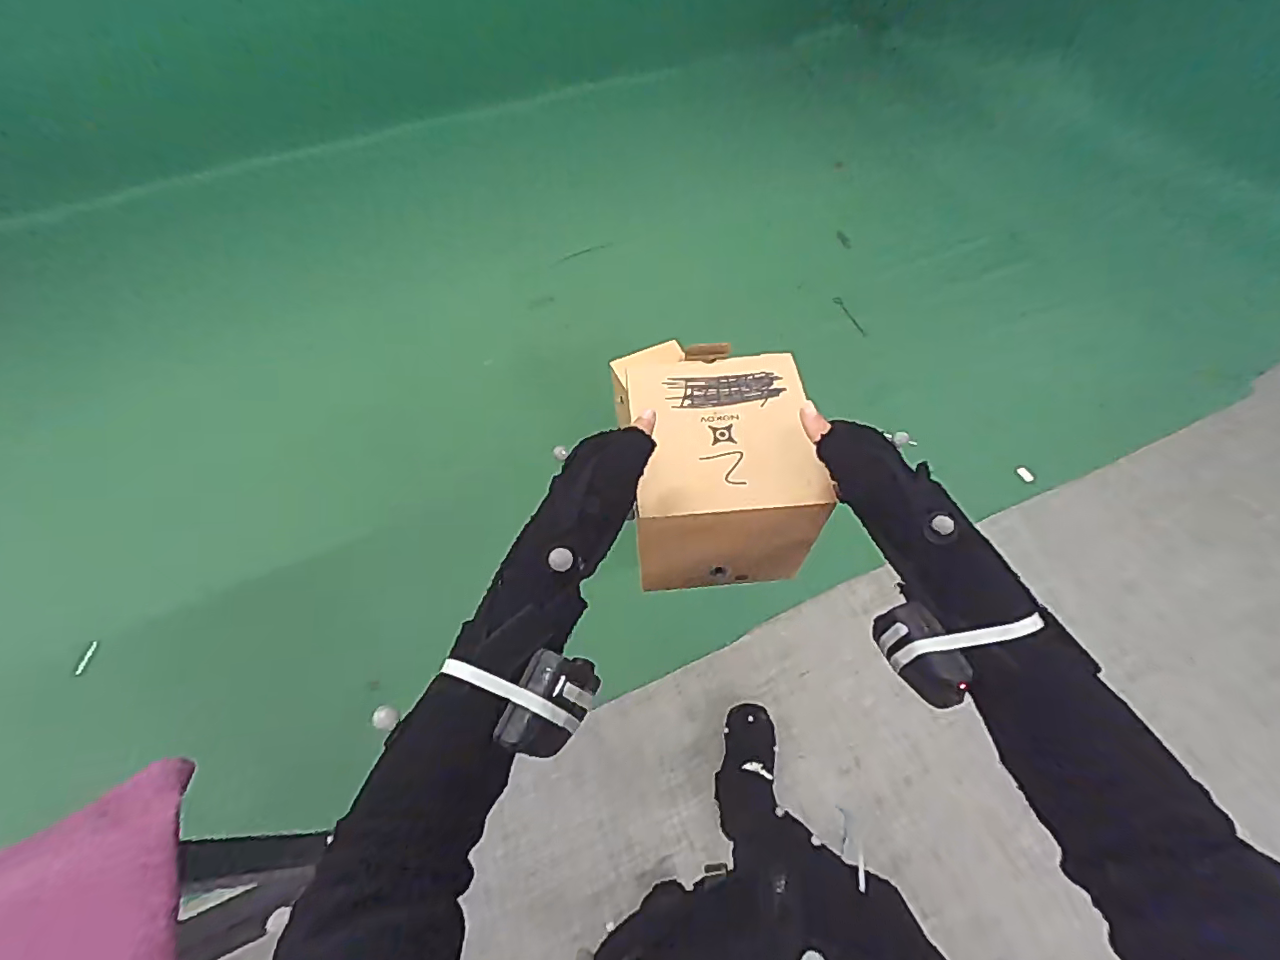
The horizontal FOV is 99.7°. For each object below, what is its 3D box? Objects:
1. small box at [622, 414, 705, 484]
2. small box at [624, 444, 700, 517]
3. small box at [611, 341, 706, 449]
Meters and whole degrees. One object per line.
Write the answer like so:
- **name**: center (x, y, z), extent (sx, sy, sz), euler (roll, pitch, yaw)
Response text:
- **small box**: center (0.058, -0.117, 1.457), extent (0.179, 0.176, 0.168), euler (-20, 57, -10)
- **small box**: center (0.062, -0.023, 1.594), extent (0.168, 0.176, 0.179), euler (-22, 59, -10)
- **small box**: center (0.047, -0.203, 1.321), extent (0.179, 0.176, 0.168), euler (-22, 59, -12)
